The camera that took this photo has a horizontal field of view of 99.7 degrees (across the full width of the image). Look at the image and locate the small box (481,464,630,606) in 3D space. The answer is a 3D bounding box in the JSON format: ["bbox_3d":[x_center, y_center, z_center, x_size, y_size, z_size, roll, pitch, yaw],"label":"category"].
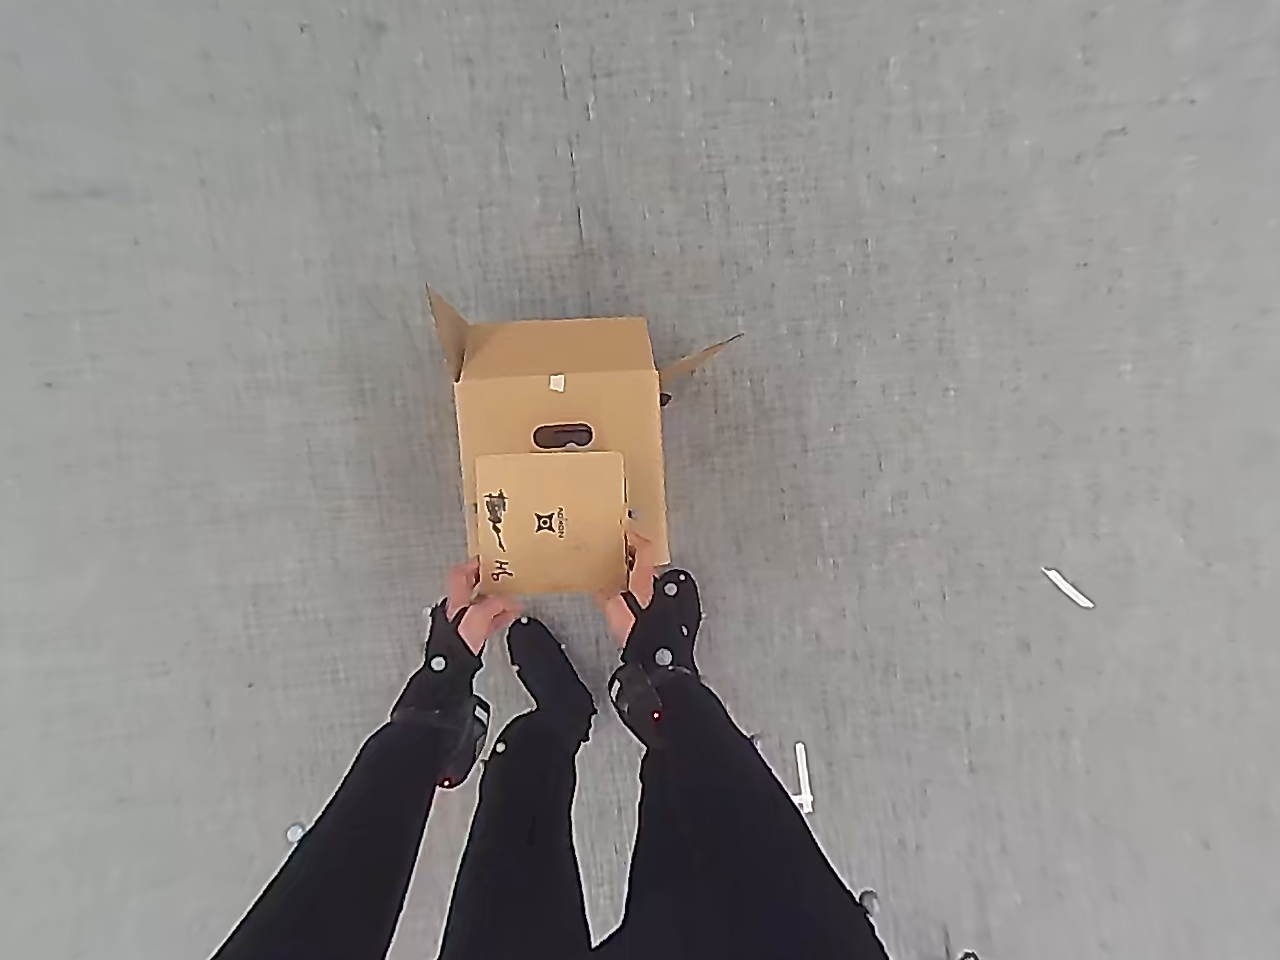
[{"bbox_3d":[-0.102,0.064,0.717,0.179,0.176,0.168,0,92,-1],"label":"small box"}]
